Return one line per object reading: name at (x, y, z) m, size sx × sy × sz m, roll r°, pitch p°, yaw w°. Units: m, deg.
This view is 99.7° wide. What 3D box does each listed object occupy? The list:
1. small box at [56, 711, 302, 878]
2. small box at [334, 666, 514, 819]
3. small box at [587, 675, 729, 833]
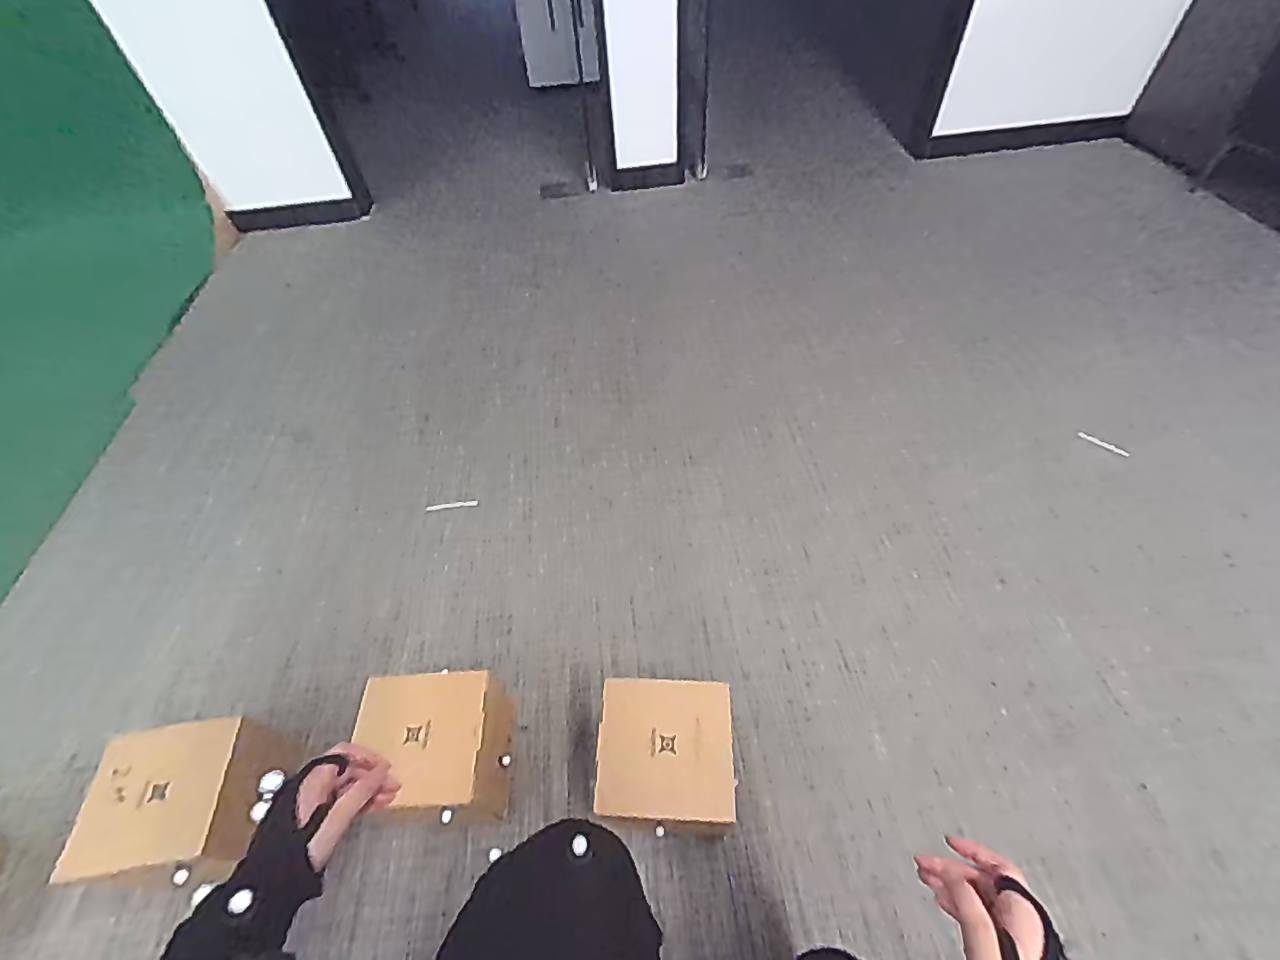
small box at (-0.615, 0.441, 0.756) m, size 0.179 × 0.176 × 0.168 m, roll -8°, pitch 51°, yaw -3°
small box at (-0.295, 0.384, 0.784) m, size 0.179 × 0.176 × 0.168 m, roll -3°, pitch 51°, yaw 0°
small box at (0.031, 0.387, 0.759) m, size 0.179 × 0.176 × 0.168 m, roll 2°, pitch 52°, yaw 4°
